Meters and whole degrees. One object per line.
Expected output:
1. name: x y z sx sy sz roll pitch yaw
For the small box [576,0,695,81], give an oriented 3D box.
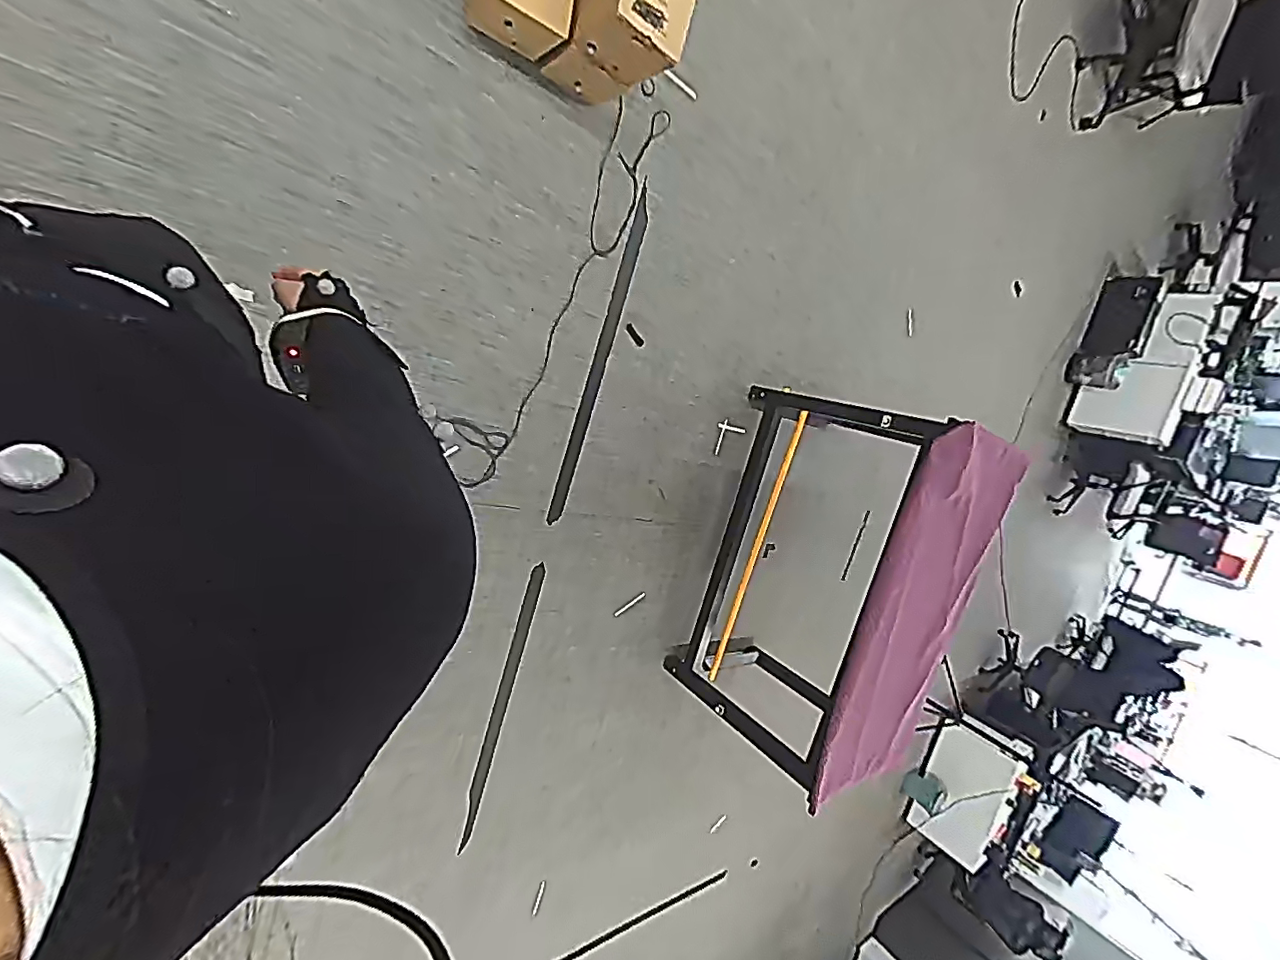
1. small box: -0.010 -0.971 1.111 0.168 0.176 0.179 10 99 -41
